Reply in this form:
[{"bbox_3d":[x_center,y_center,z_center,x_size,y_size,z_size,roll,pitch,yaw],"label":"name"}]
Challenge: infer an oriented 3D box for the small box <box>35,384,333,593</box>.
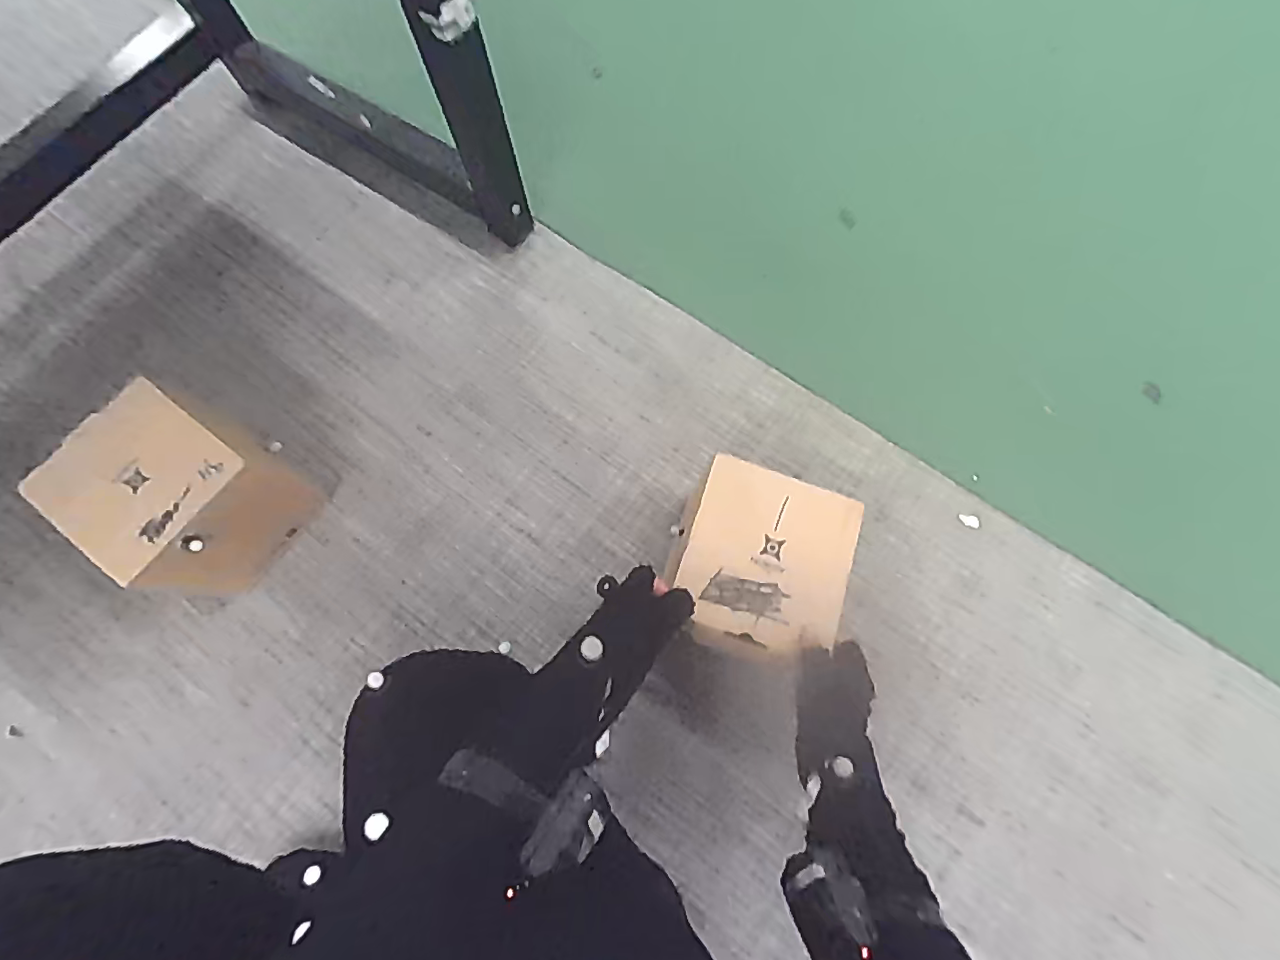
[{"bbox_3d":[-0.527,0.022,0.653,0.179,0.176,0.168,35,79,11],"label":"small box"}]
